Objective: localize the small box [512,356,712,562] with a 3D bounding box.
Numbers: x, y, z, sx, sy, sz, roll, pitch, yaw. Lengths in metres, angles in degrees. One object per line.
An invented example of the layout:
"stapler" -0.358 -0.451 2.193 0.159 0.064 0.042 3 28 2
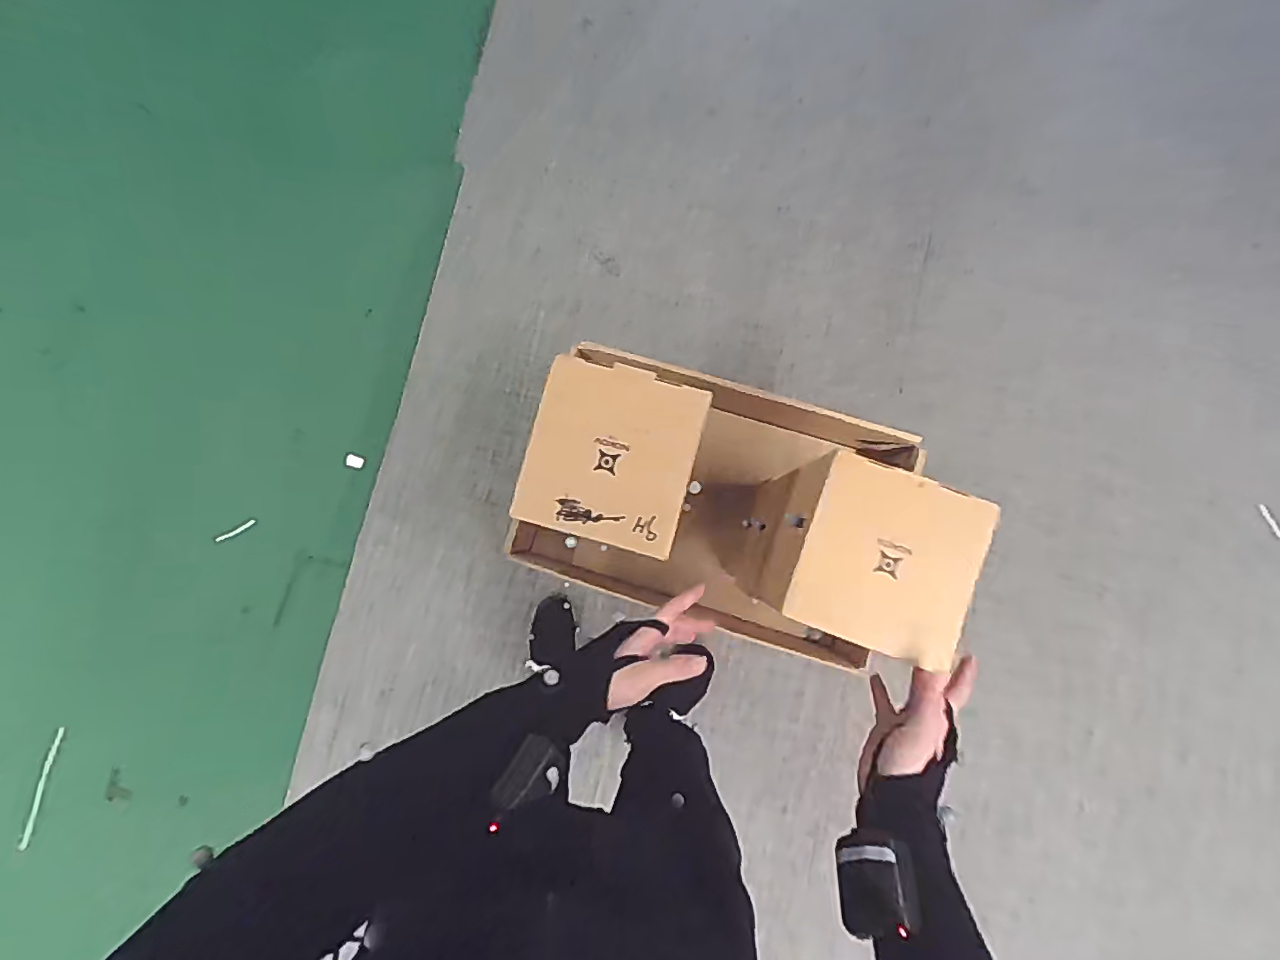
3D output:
"small box" -0.024 -0.015 0.618 0.168 0.176 0.179 15 85 5

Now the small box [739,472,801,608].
"small box" 0.247 0.106 0.761 0.168 0.176 0.179 20 84 5

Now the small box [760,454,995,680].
"small box" 0.242 0.090 0.600 0.168 0.176 0.179 20 85 5
